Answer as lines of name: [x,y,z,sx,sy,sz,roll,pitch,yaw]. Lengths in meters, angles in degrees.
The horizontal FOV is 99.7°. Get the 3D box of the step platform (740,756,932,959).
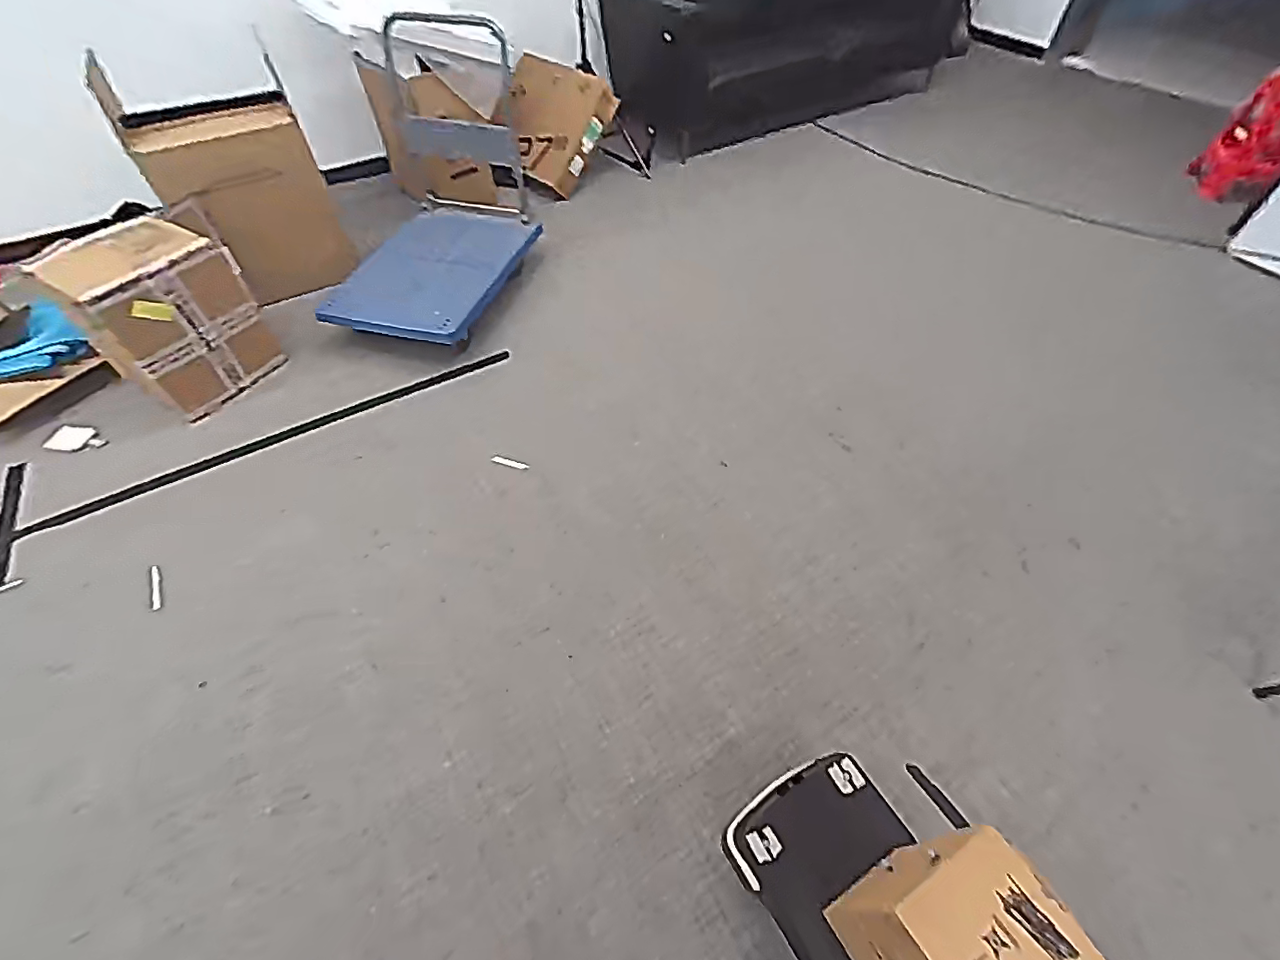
step platform: [0.477,0.846,0.908,0.286,0.204,0.684,-26,54,-19]

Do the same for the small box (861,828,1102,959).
small box: [0.417,0.583,0.688,0.179,0.176,0.168,-25,55,-18]

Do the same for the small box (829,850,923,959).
small box: [0.417,0.689,0.814,0.179,0.176,0.168,-24,54,-18]
